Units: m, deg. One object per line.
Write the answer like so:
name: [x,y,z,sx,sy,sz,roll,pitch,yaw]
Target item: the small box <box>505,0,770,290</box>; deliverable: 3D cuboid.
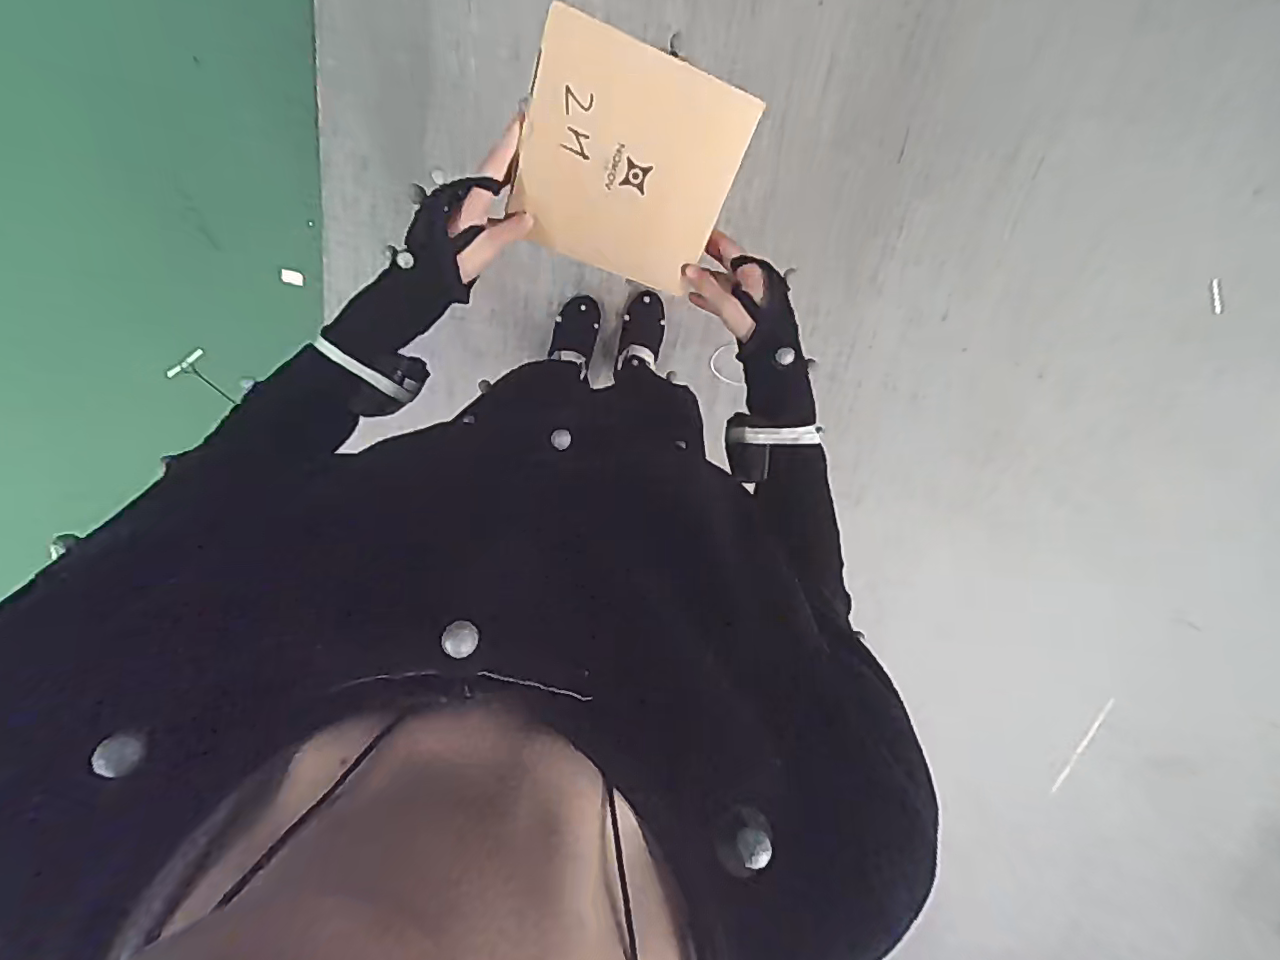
small box: [-0.010,-0.308,0.502,0.179,0.176,0.168,16,125,-14]
